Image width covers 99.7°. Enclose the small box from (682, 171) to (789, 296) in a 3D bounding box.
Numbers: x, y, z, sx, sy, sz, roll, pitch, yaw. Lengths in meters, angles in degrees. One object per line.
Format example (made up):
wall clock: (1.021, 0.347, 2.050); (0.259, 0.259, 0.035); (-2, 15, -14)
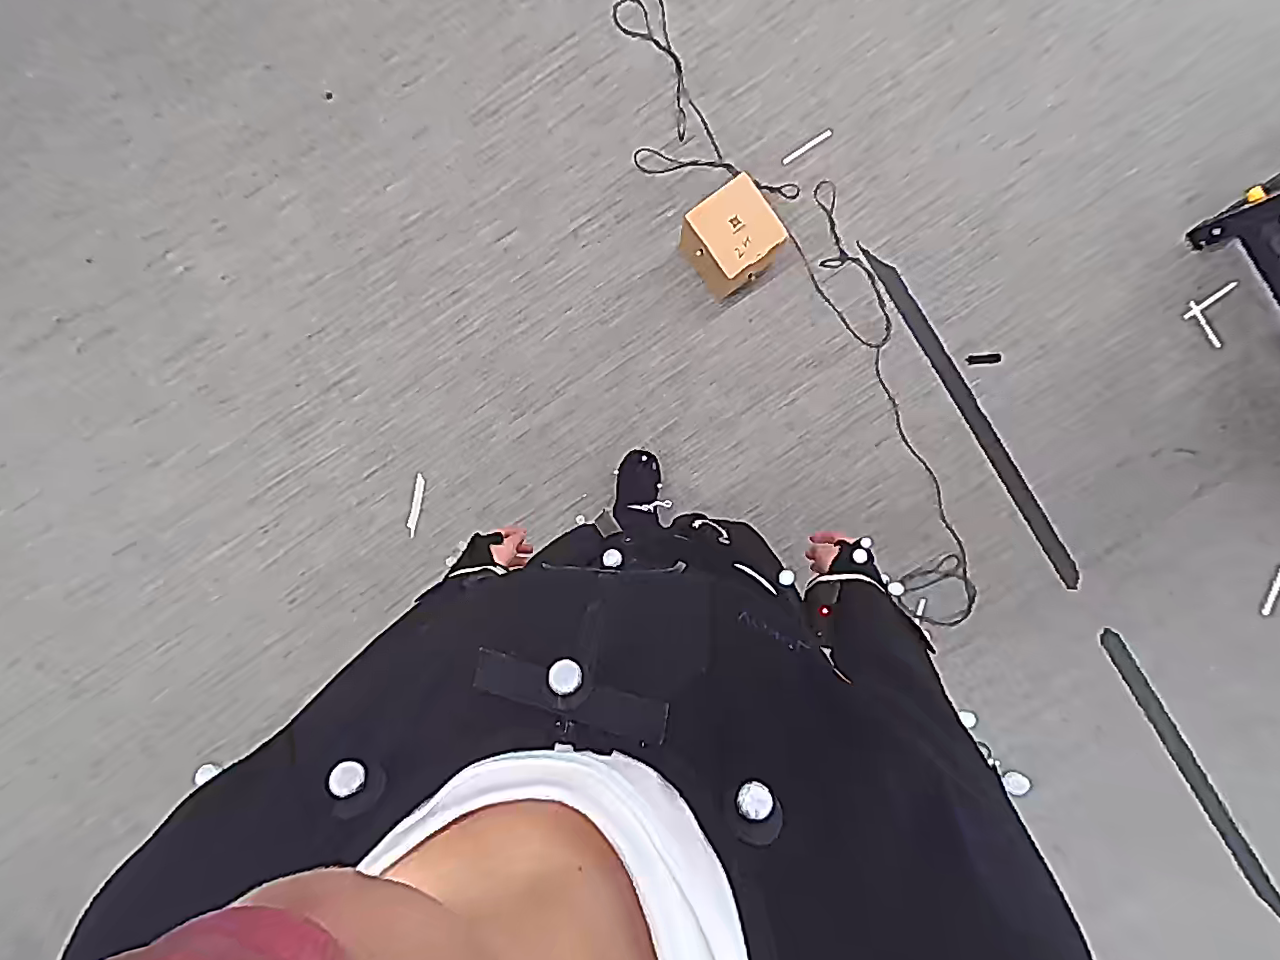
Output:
small box: (0.210, -0.560, 1.256); (0.168, 0.176, 0.179); (-36, 92, 2)
